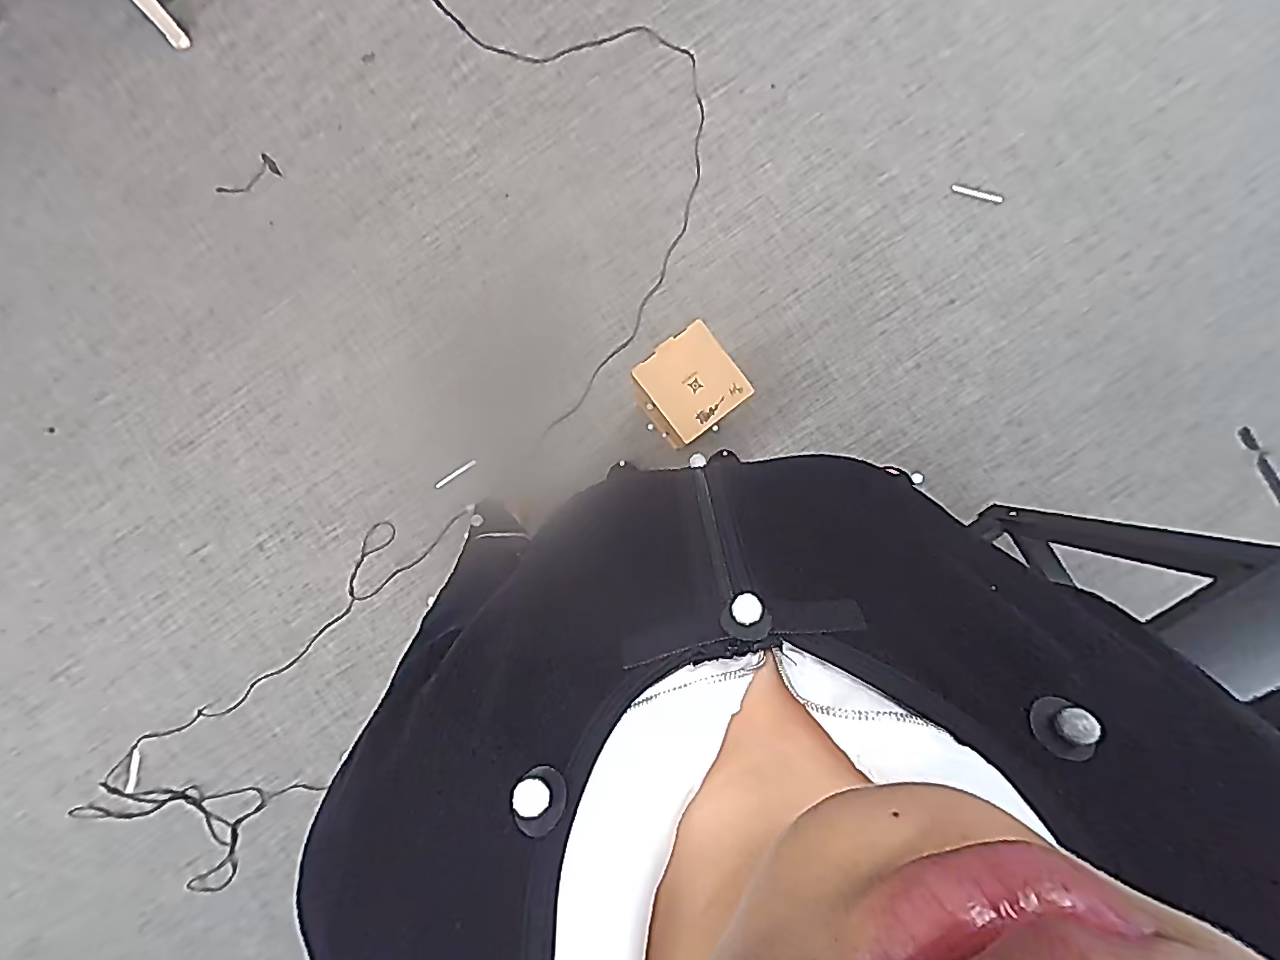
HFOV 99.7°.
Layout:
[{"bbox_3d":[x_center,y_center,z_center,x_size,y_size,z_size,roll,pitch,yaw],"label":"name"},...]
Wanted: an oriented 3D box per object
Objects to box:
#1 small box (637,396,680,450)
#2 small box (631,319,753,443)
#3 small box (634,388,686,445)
[{"bbox_3d":[0.106,-0.194,1.415,0.179,0.176,0.168,-37,91,4],"label":"small box"},{"bbox_3d":[0.098,-0.188,1.089,0.168,0.176,0.179,-38,91,3],"label":"small box"},{"bbox_3d":[0.106,-0.193,1.253,0.179,0.176,0.168,-40,92,2],"label":"small box"}]
